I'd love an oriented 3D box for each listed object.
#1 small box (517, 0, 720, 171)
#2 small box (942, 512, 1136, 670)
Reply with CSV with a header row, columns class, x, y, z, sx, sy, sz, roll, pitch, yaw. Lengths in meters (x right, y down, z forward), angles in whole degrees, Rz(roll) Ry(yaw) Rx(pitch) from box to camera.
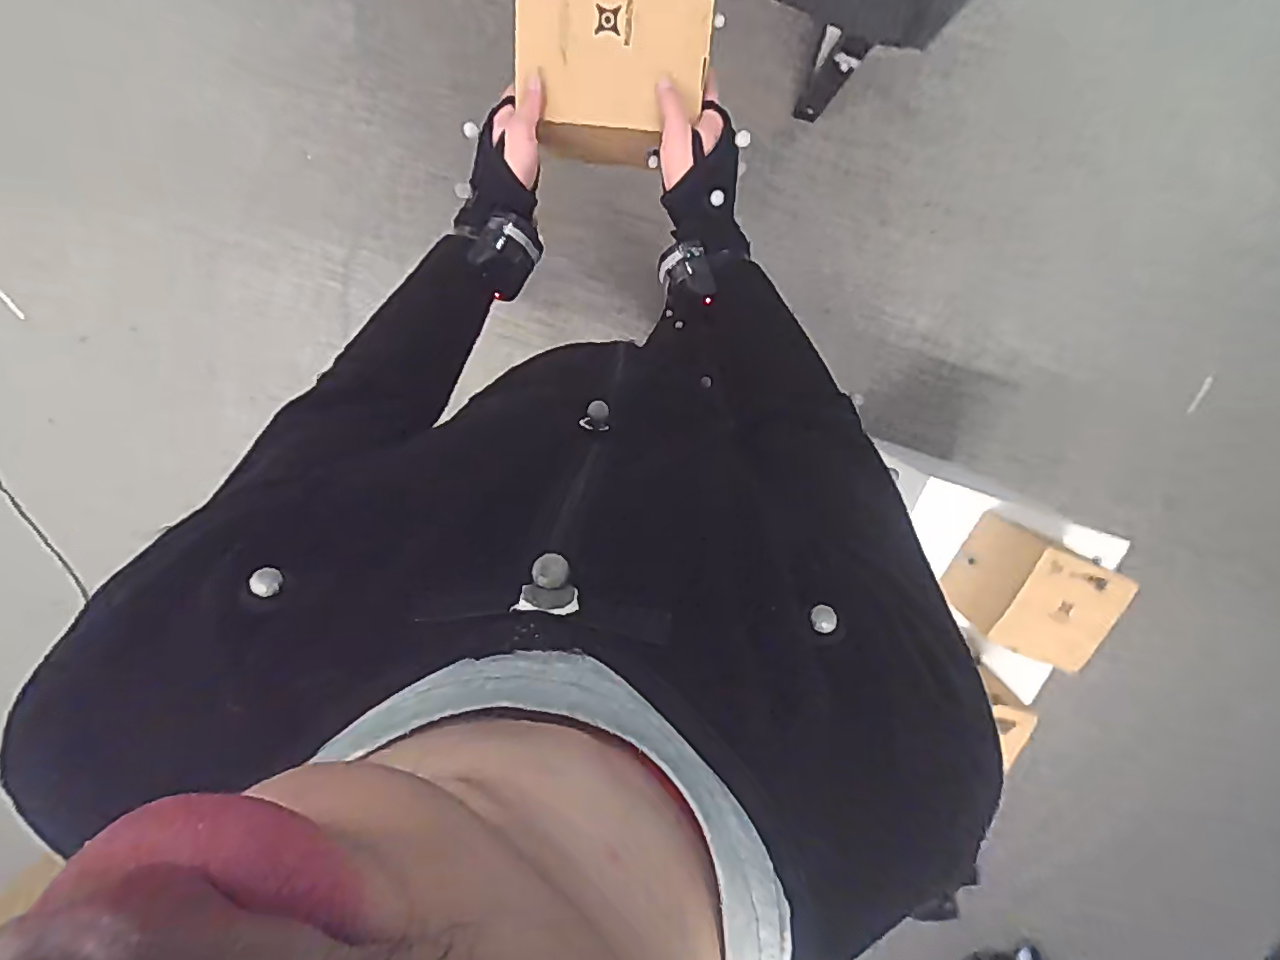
class,x,y,z,sx,sy,sz,roll,pitch,yaw
small box,-0.018,-0.422,0.537,0.179,0.176,0.168,3,106,1
small box,0.655,0.181,0.918,0.168,0.176,0.179,21,105,-7
